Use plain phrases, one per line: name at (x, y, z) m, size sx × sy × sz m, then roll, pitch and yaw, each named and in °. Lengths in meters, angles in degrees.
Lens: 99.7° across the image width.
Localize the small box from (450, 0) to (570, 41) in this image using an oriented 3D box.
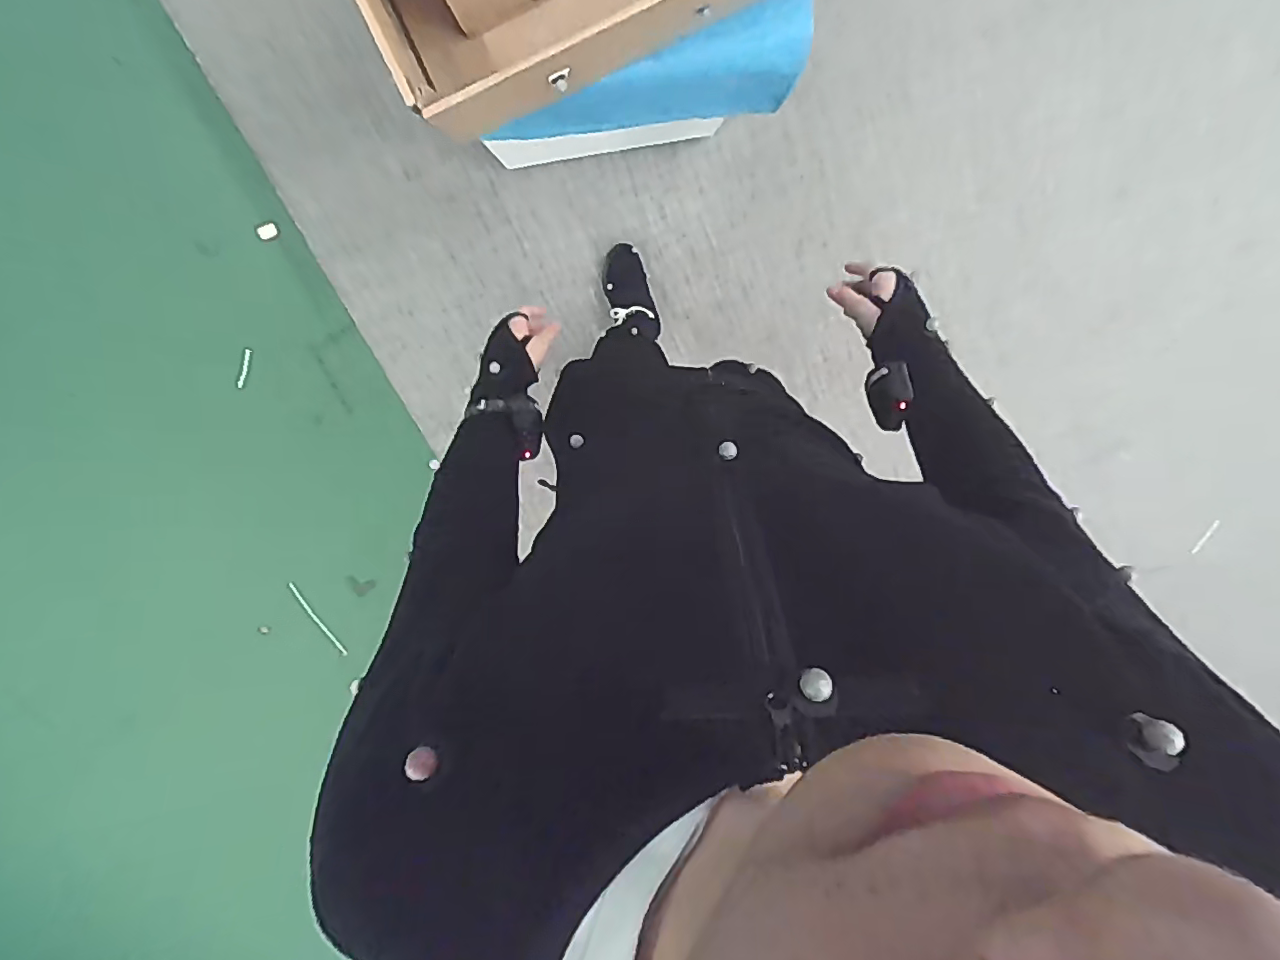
small box at (-0.178, -0.663, 0.616) m, size 0.168 × 0.176 × 0.179 m, roll -23°, pitch 108°, yaw 6°
